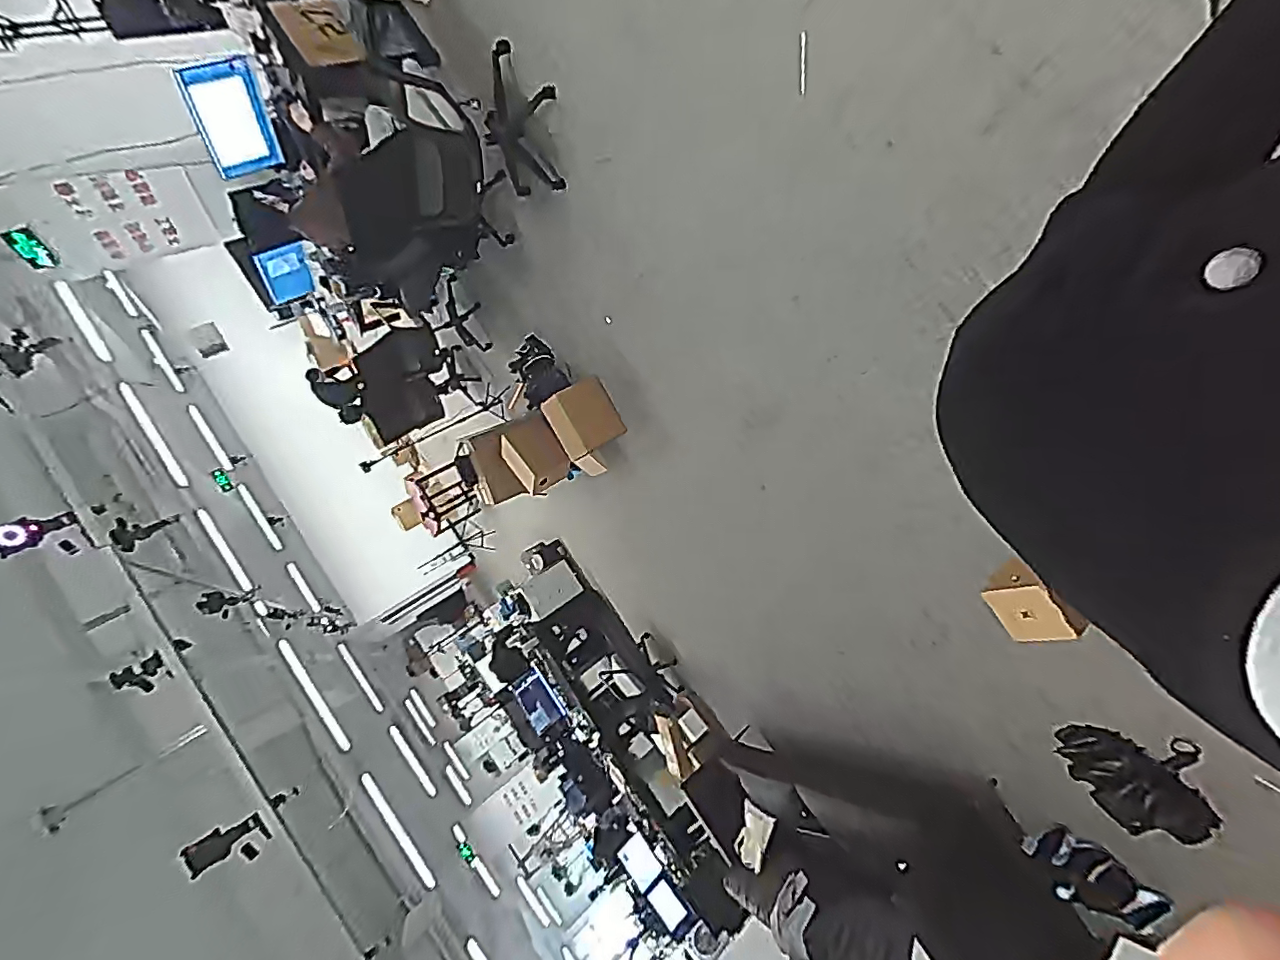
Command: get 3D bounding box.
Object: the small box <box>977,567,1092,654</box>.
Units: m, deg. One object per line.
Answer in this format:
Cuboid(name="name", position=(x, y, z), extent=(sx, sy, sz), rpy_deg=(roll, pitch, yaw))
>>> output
Cuboid(name="small box", position=(1.076, 0.353, 1.468), extent=(0.168, 0.176, 0.179), rpy_deg=(57, 155, 5))
